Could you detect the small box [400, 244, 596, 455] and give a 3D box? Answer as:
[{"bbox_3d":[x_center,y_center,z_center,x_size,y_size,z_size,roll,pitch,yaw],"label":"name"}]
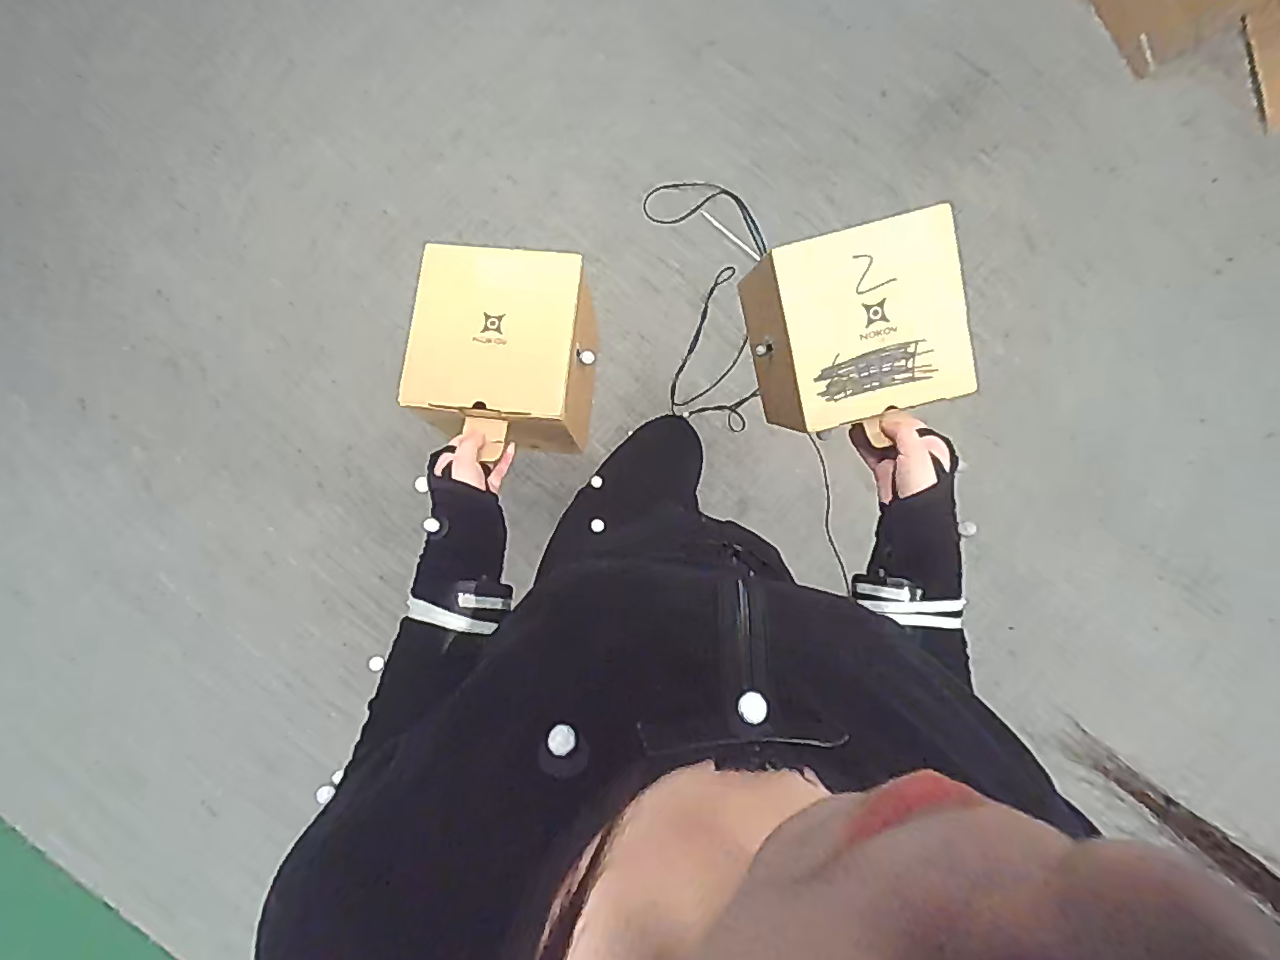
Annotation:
[{"bbox_3d":[-0.145,-0.137,0.619,0.168,0.176,0.179,5,81,2],"label":"small box"}]
